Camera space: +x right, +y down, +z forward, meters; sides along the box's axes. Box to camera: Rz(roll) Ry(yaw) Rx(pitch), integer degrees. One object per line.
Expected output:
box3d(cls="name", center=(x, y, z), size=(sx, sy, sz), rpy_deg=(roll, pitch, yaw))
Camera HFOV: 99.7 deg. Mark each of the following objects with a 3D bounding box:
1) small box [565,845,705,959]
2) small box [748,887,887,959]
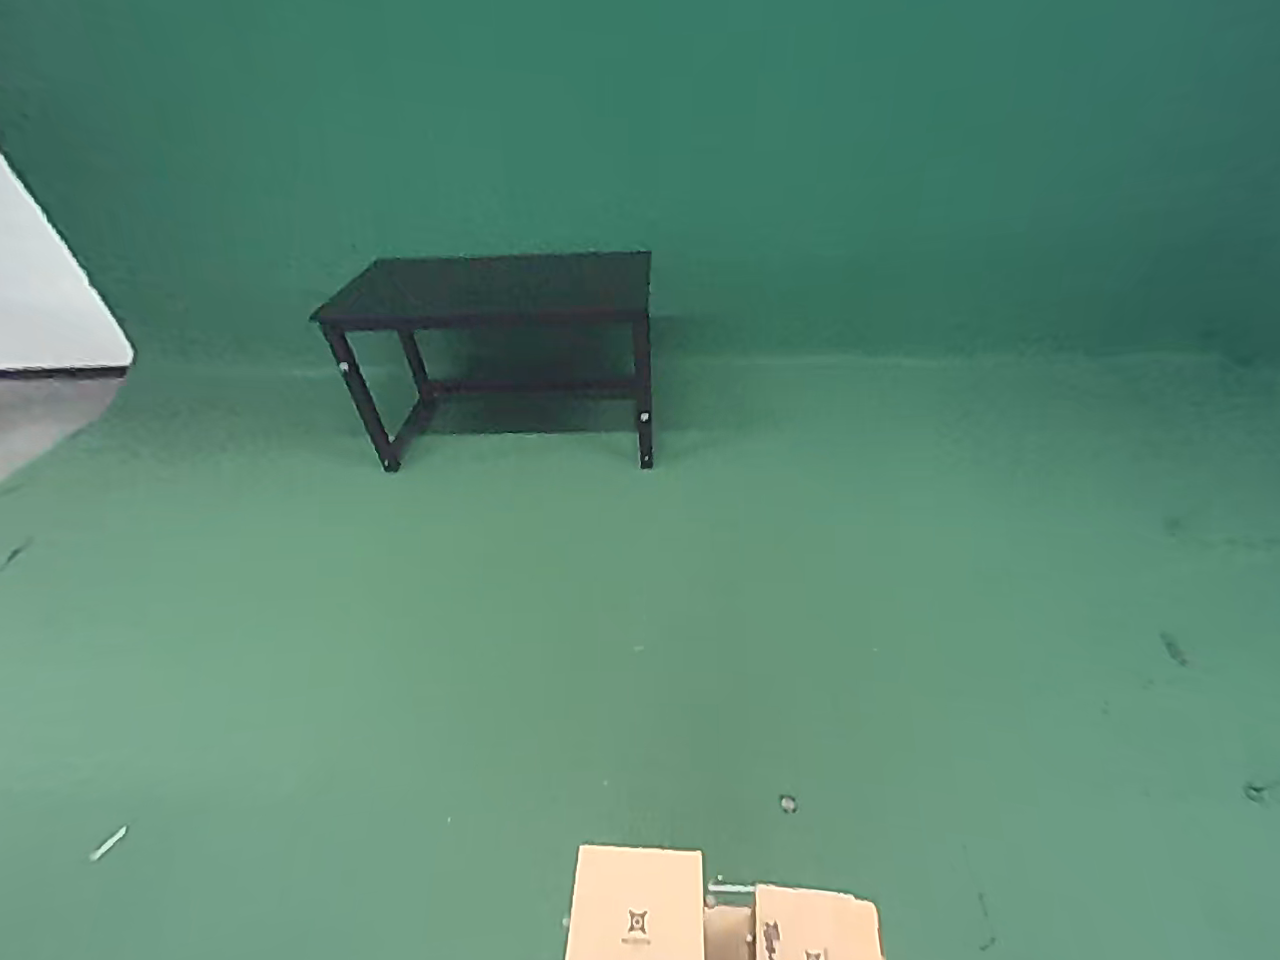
box3d(cls="small box", center=(-0.002, 0.603, 0.696), size=(0.168, 0.176, 0.179), rpy_deg=(0, 40, 5))
box3d(cls="small box", center=(0.251, 0.726, 0.781), size=(0.179, 0.176, 0.168), rpy_deg=(4, 39, 10))
